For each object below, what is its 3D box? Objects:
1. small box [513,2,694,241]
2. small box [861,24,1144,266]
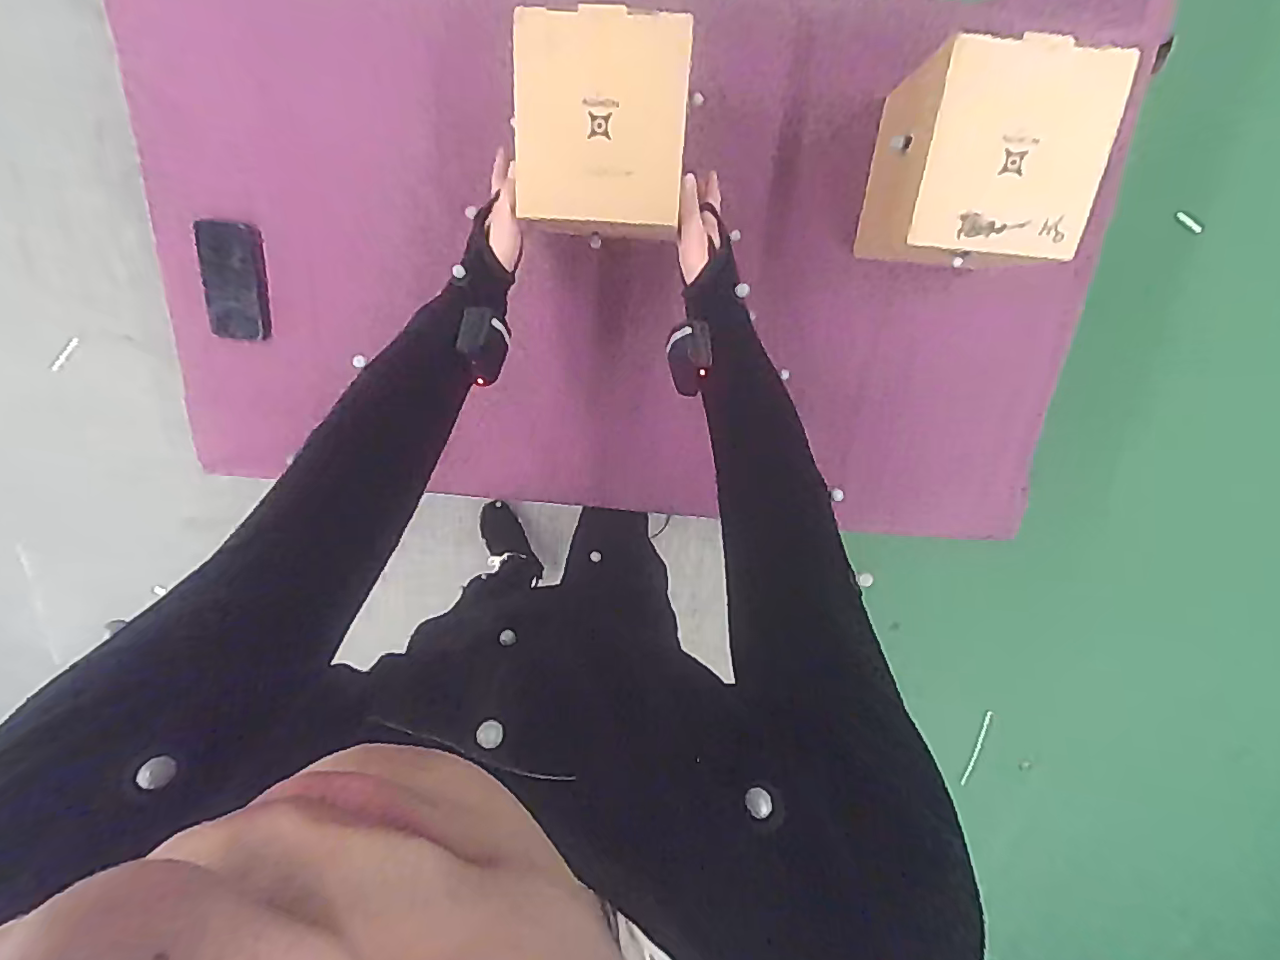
[{"bbox_3d":[-0.034,-0.367,0.586,0.168,0.176,0.179,5,110,3],"label":"small box"},{"bbox_3d":[0.354,-0.331,0.571,0.168,0.176,0.179,7,109,3],"label":"small box"}]
